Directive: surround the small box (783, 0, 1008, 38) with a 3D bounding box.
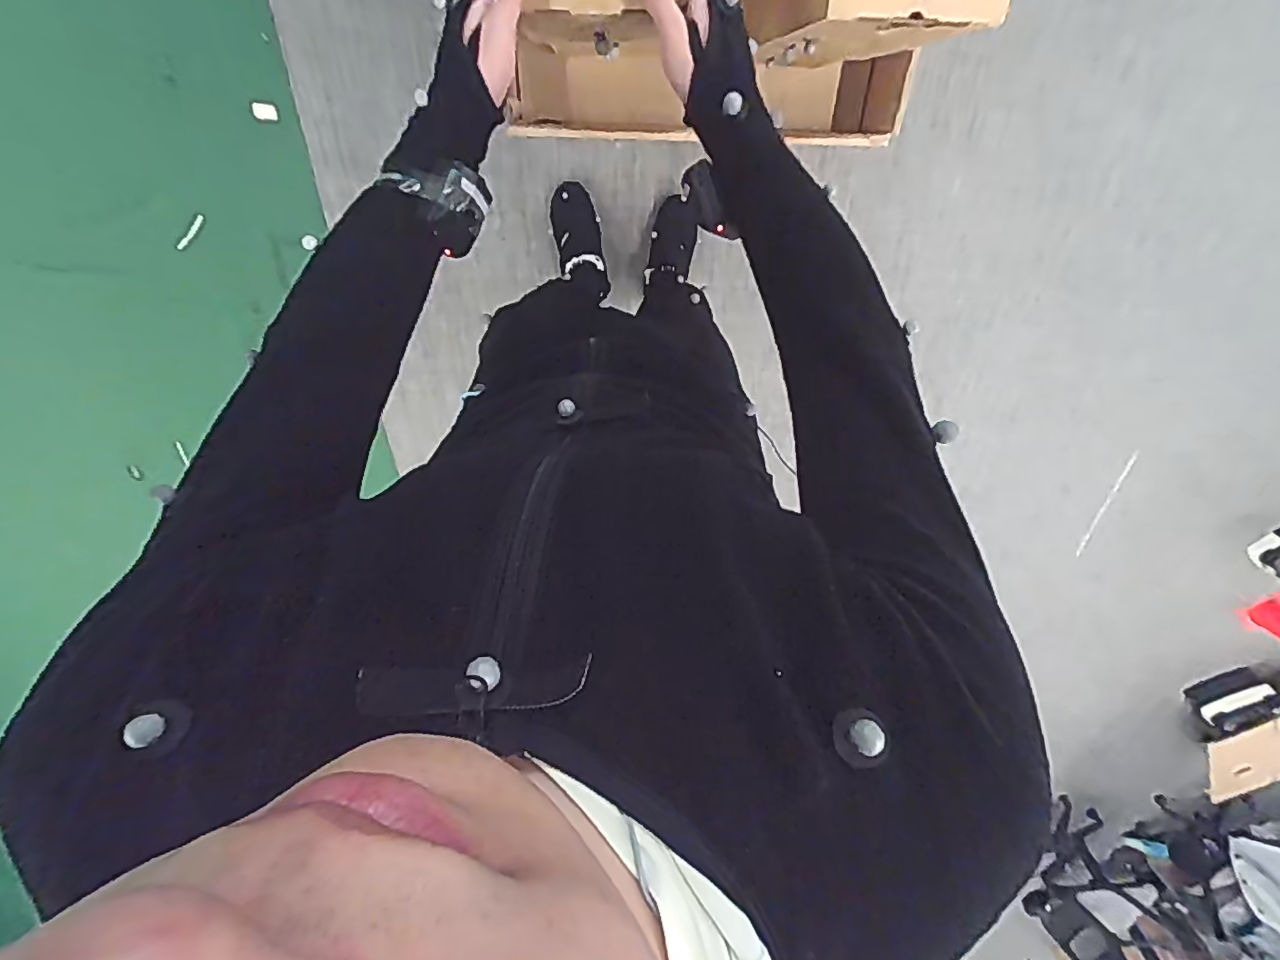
[{"bbox_3d":[0.241,-0.527,0.496,0.168,0.176,0.179,-1,123,-3],"label":"small box"}]

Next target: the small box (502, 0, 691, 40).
[{"bbox_3d":[-0.038,-0.513,0.474,0.168,0.176,0.179,0,122,1],"label":"small box"}]

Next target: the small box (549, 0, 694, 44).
[{"bbox_3d":[-0.033,-0.615,0.619,0.179,0.176,0.168,-3,124,-2],"label":"small box"}]

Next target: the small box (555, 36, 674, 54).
[{"bbox_3d":[-0.042,-0.708,0.755,0.179,0.176,0.168,-2,124,-4],"label":"small box"}]
